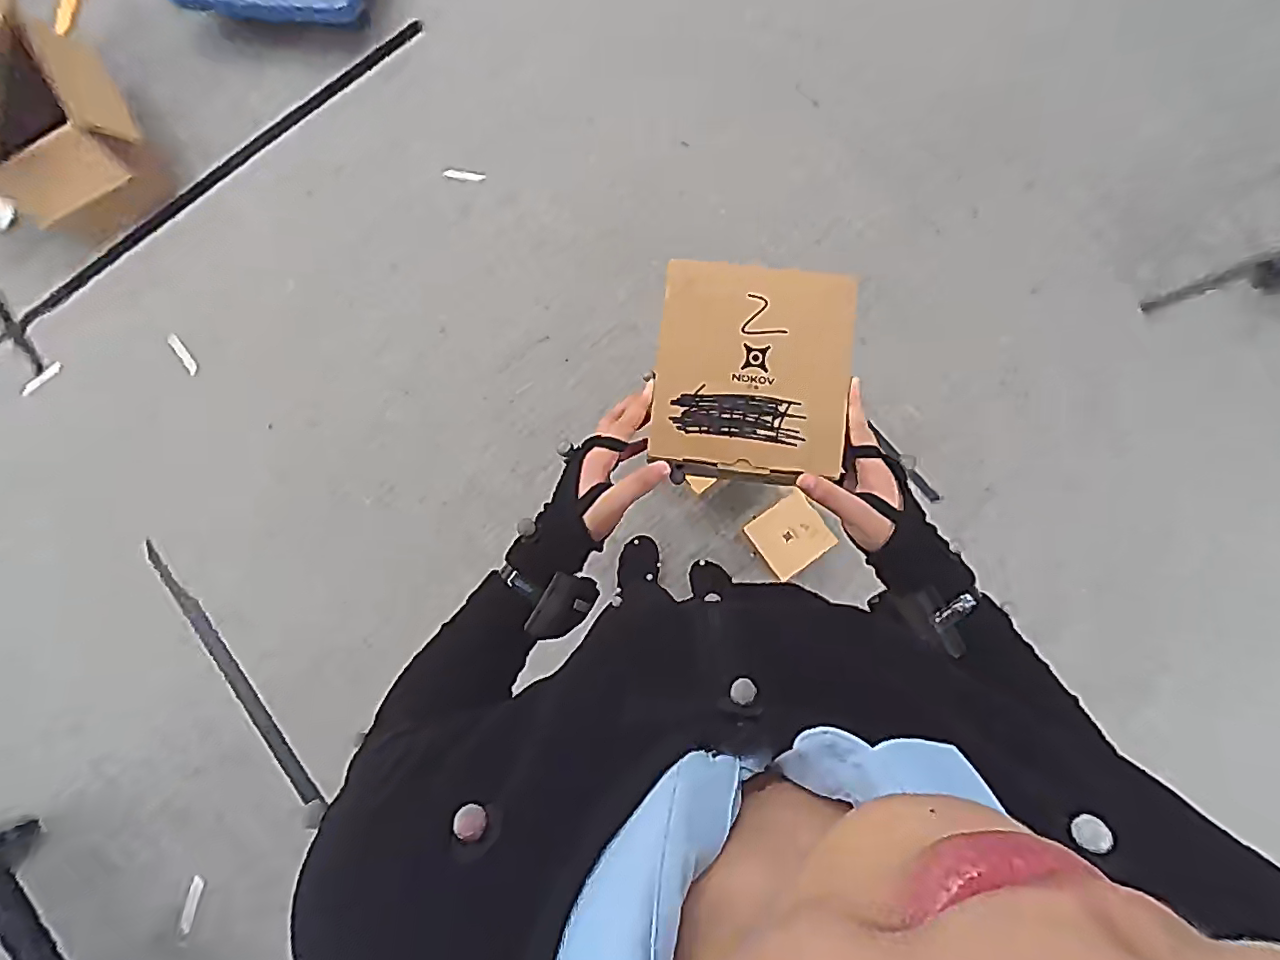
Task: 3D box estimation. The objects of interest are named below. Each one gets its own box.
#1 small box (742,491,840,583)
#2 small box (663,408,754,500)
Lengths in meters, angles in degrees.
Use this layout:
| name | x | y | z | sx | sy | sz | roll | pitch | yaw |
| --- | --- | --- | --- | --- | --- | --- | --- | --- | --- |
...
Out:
| name | x | y | z | sx | sy | sz | roll | pitch | yaw |
| --- | --- | --- | --- | --- | --- | --- | --- | --- | --- |
| small box | 0.380 | 0.150 | 1.408 | 0.179 | 0.176 | 0.168 | -35 | 83 | -2 |
| small box | 0.175 | -0.063 | 1.449 | 0.179 | 0.176 | 0.168 | -38 | 82 | -2 |
